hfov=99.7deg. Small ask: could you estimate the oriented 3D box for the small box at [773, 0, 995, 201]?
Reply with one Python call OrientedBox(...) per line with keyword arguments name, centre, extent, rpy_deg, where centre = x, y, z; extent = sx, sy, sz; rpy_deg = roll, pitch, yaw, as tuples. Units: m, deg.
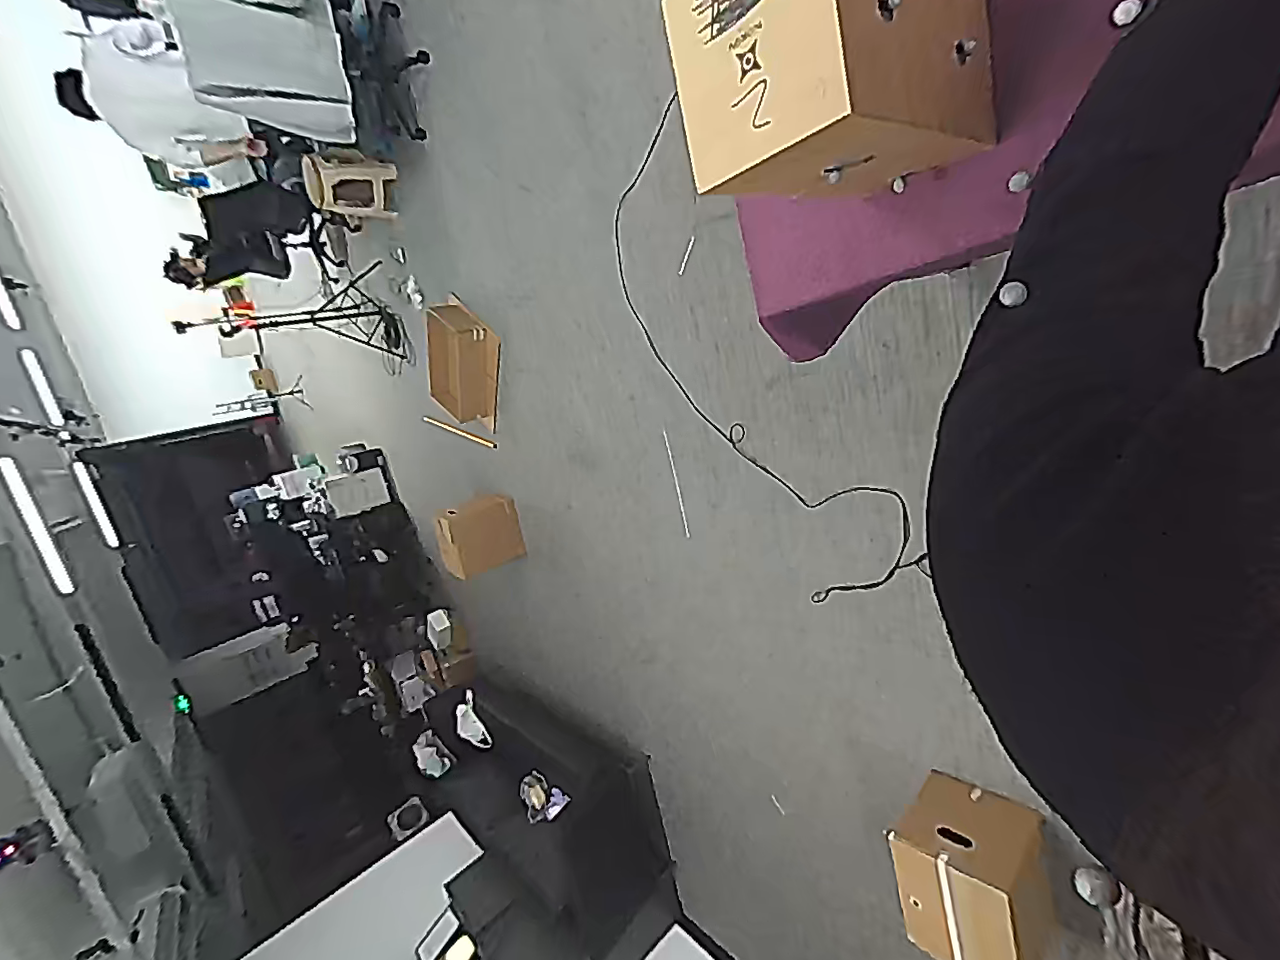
OrientedBox(name="small box", centre=(0.278, -0.434, 0.611), extent=(0.168, 0.176, 0.179), rpy_deg=(2, 109, 50))
